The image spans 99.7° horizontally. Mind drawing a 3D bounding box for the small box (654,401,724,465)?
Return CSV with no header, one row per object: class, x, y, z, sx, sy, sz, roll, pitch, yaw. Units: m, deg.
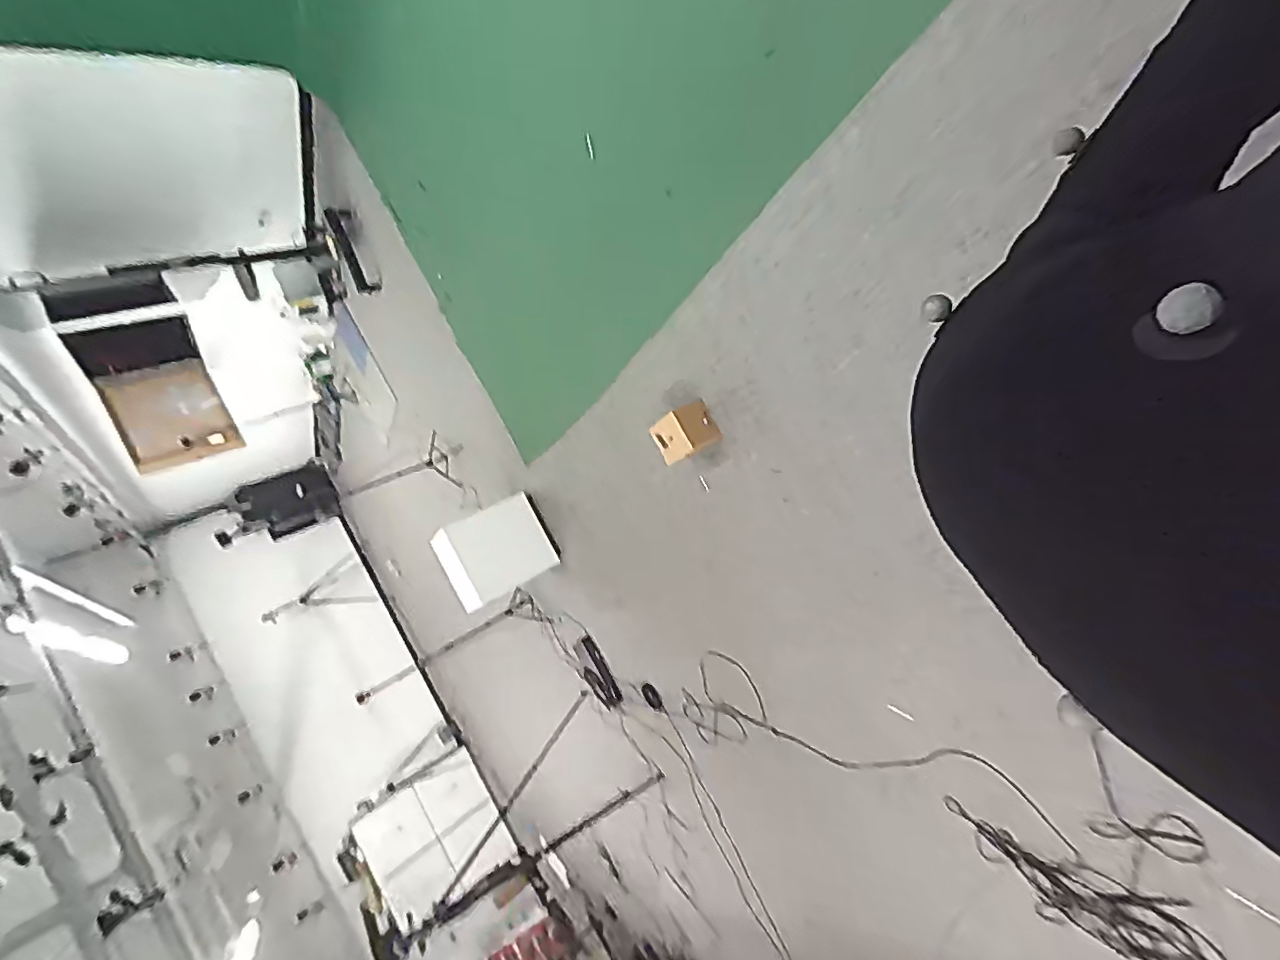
small box,0.191,-0.182,2.087,0.168,0.176,0.179,60,143,5
